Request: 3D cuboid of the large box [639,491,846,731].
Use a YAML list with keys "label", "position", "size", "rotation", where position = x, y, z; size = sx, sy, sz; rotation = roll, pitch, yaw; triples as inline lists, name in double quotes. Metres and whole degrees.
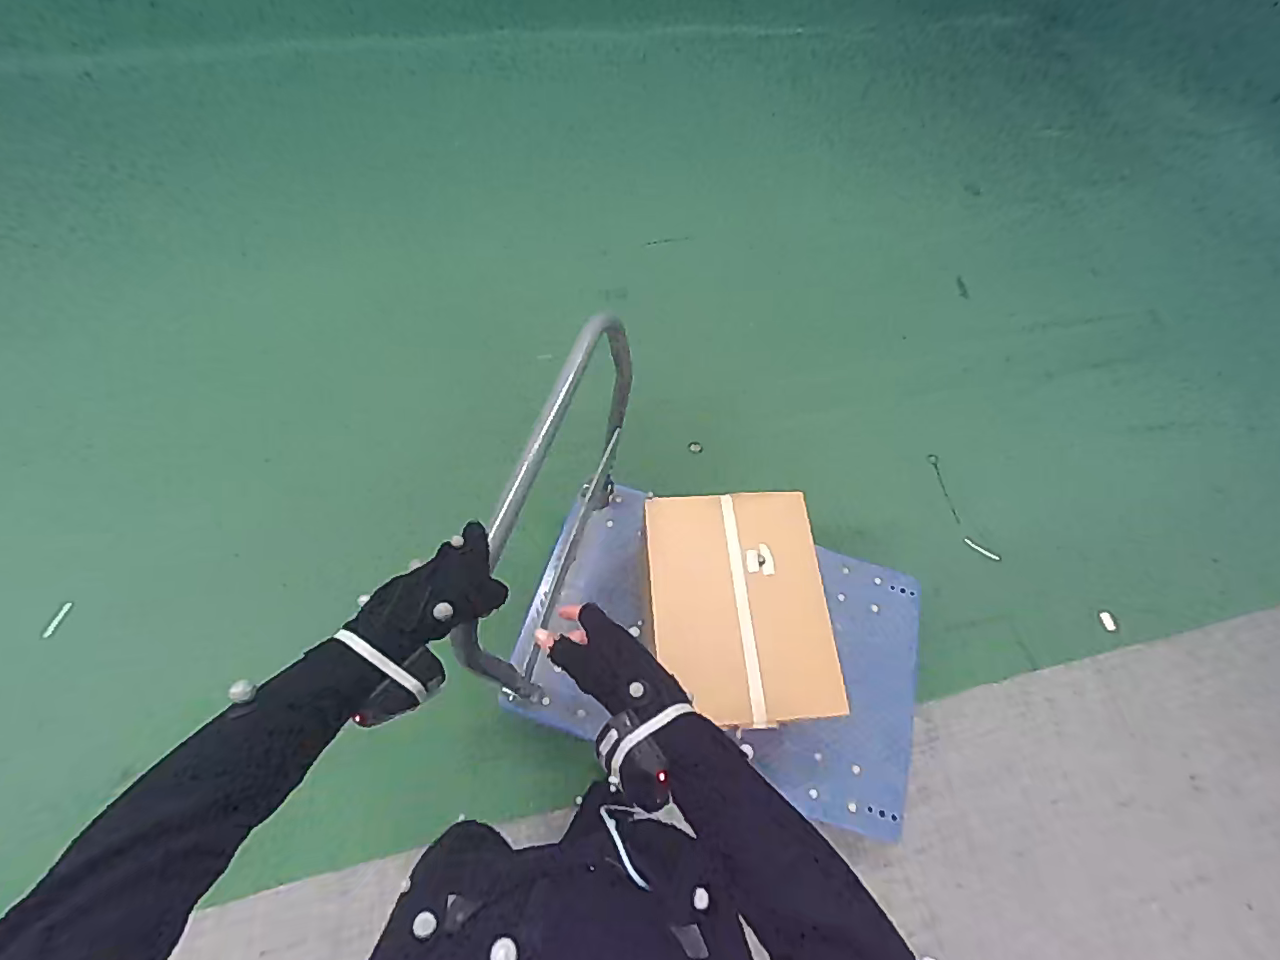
- label: "large box"
  position: [0.170, 0.274, 1.101]
  size: [0.320, 0.320, 0.408]
  rotation: [-2, 63, -5]
